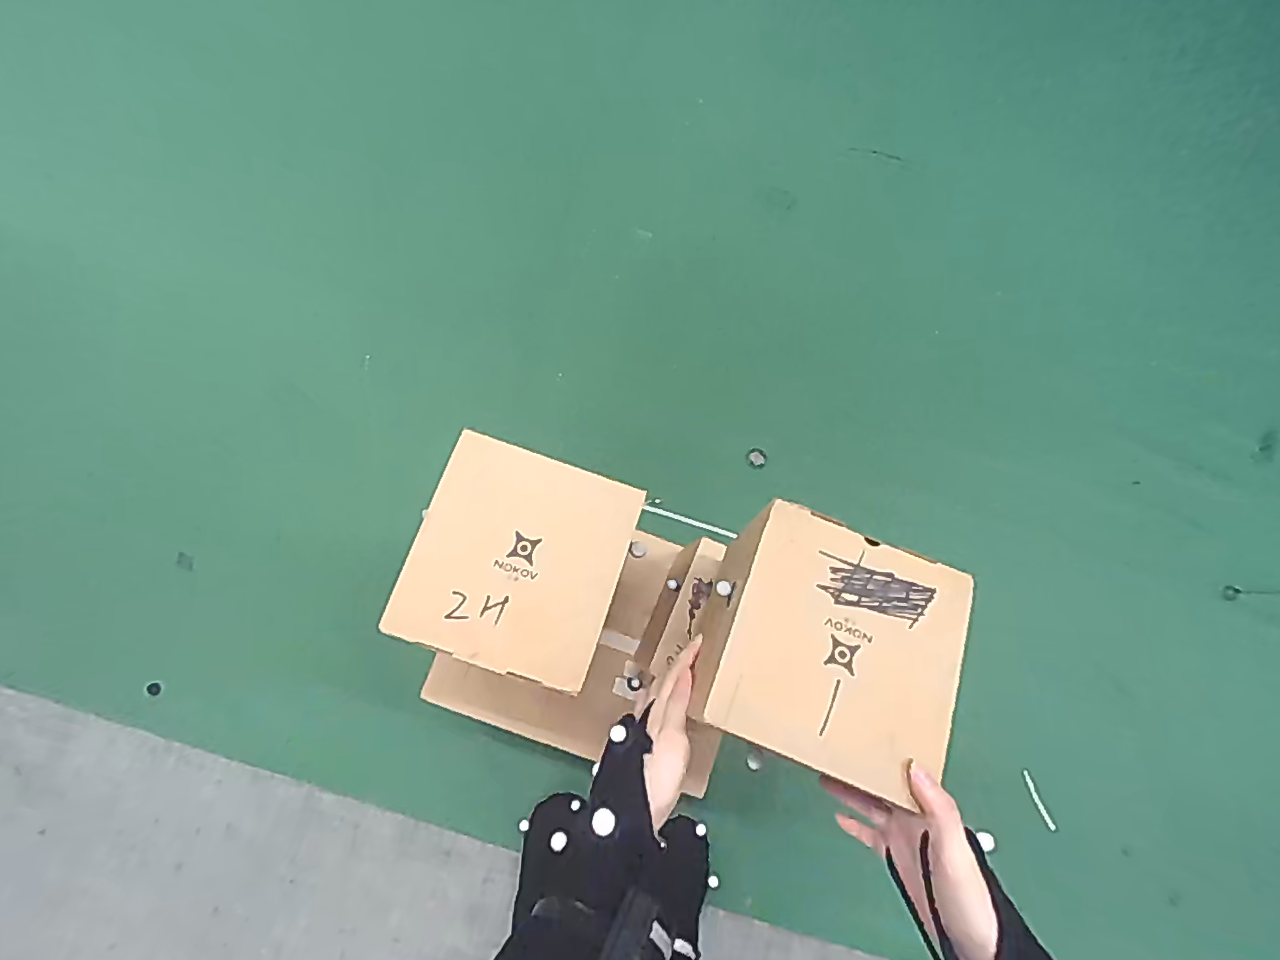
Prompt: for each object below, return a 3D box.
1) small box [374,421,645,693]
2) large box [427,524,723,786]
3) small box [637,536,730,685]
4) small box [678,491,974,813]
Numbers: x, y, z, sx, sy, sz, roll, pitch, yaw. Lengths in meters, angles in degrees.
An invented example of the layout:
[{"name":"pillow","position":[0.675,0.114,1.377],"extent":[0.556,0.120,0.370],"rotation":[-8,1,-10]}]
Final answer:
[{"name":"small box","position":[-0.108,0.074,0.507],"extent":[0.168,0.176,0.179],"rotation":[20,76,-1]},{"name":"large box","position":[-0.067,0.239,0.894],"extent":[0.408,0.320,0.320],"rotation":[20,77,-2]},{"name":"small box","position":[0.110,0.185,0.672],"extent":[0.179,0.176,0.168],"rotation":[25,76,1]},{"name":"small box","position":[0.140,0.139,0.458],"extent":[0.168,0.176,0.179],"rotation":[22,70,5]}]
